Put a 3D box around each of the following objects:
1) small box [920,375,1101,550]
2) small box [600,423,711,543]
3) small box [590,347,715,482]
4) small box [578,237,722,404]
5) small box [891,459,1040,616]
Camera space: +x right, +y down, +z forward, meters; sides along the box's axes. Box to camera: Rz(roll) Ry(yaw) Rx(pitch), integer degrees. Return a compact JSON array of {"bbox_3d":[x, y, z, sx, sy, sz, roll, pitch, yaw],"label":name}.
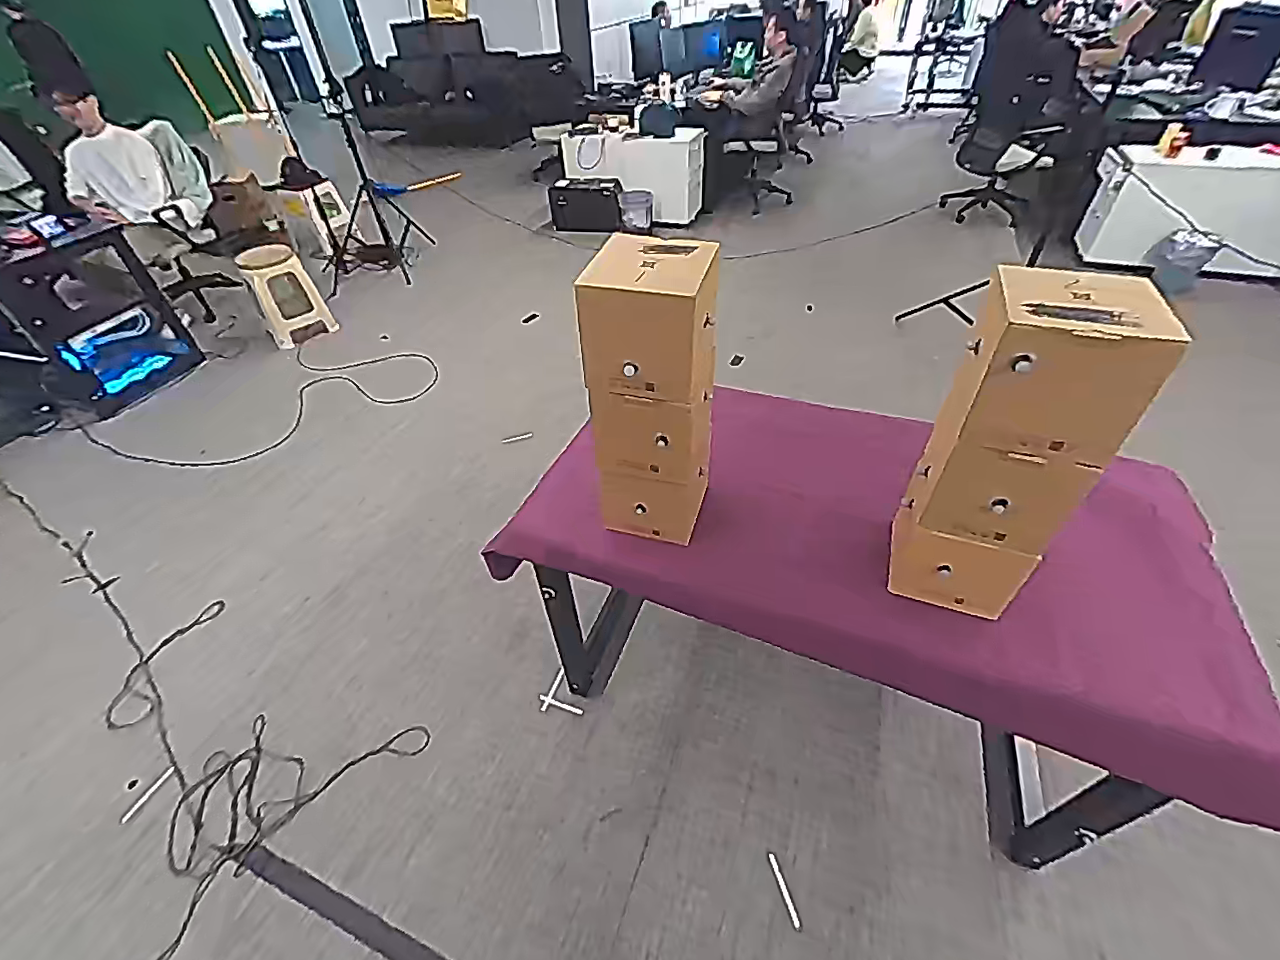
[{"bbox_3d":[0.522,-0.026,0.789,0.168,0.176,0.179,14,46,18],"label":"small box"},{"bbox_3d":[0.036,-0.006,1.031,0.168,0.176,0.179,11,45,14],"label":"small box"},{"bbox_3d":[0.028,-0.118,0.914,0.168,0.176,0.179,10,44,12],"label":"small box"},{"bbox_3d":[0.020,-0.238,0.800,0.168,0.176,0.179,10,46,13],"label":"small box"},{"bbox_3d":[0.527,0.096,0.898,0.168,0.176,0.179,13,45,17],"label":"small box"}]
